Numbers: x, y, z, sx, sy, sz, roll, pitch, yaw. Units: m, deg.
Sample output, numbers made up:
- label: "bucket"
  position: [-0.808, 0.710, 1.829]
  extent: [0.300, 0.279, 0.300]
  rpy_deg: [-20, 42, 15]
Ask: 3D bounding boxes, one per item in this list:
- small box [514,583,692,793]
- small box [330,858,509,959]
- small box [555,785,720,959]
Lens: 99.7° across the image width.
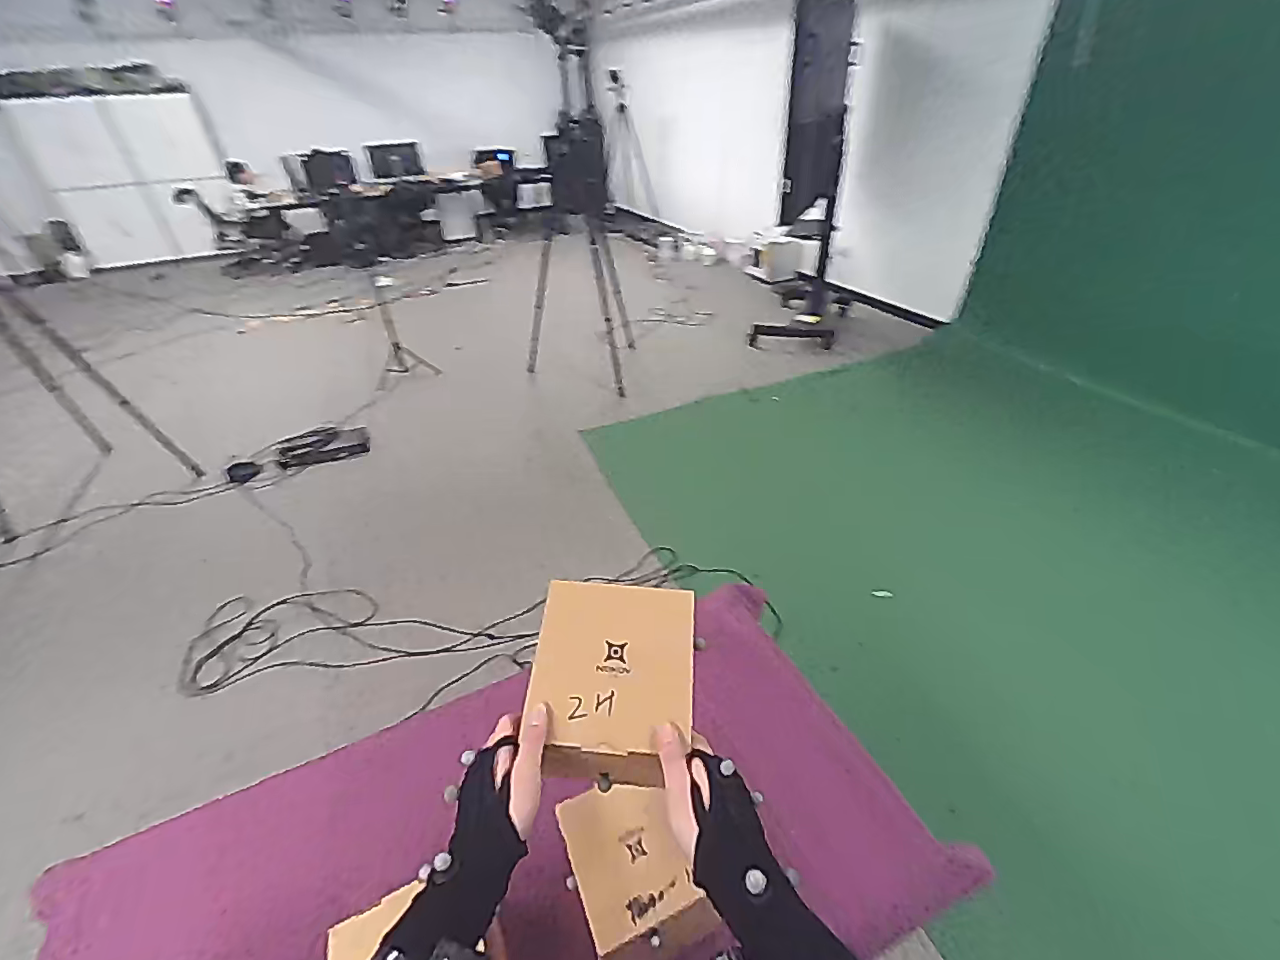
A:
- label: "small box"
  position: [-0.032, 0.241, 0.623]
  extent: [0.168, 0.176, 0.179]
  rpy_deg: [4, 52, 4]
- label: "small box"
  position: [-0.253, 0.615, 0.650]
  extent: [0.168, 0.176, 0.179]
  rpy_deg: [-19, 39, -18]
- label: "small box"
  position: [-0.006, 0.528, 0.739]
  extent: [0.168, 0.176, 0.179]
  rpy_deg: [-17, 37, -17]
